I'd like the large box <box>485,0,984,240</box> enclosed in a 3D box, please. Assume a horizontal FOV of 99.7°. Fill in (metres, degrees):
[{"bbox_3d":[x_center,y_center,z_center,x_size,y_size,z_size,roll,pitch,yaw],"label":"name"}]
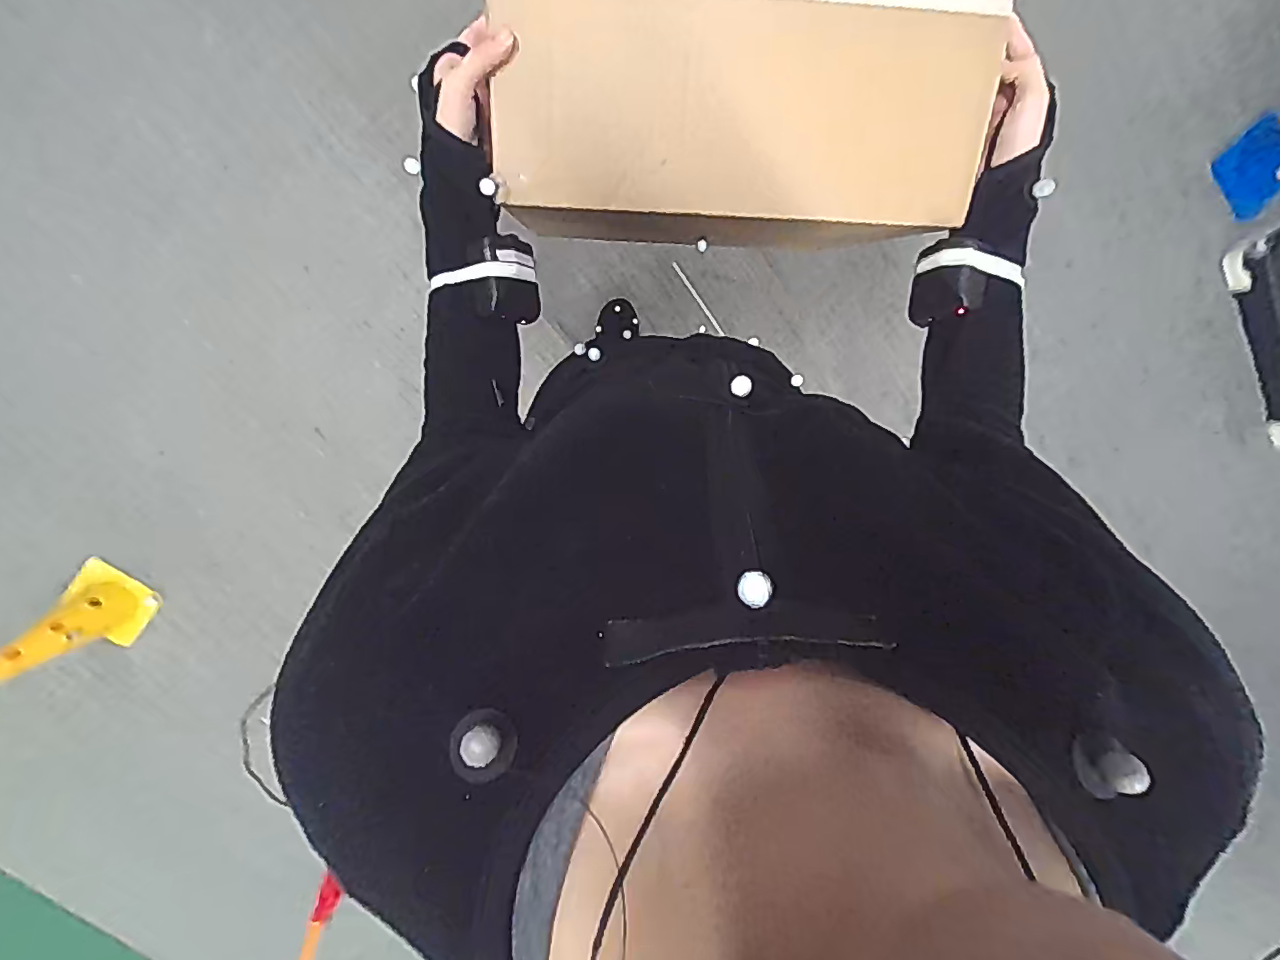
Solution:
[{"bbox_3d":[0.071,-0.427,0.562,0.408,0.320,0.320,0,109,-4],"label":"large box"}]
